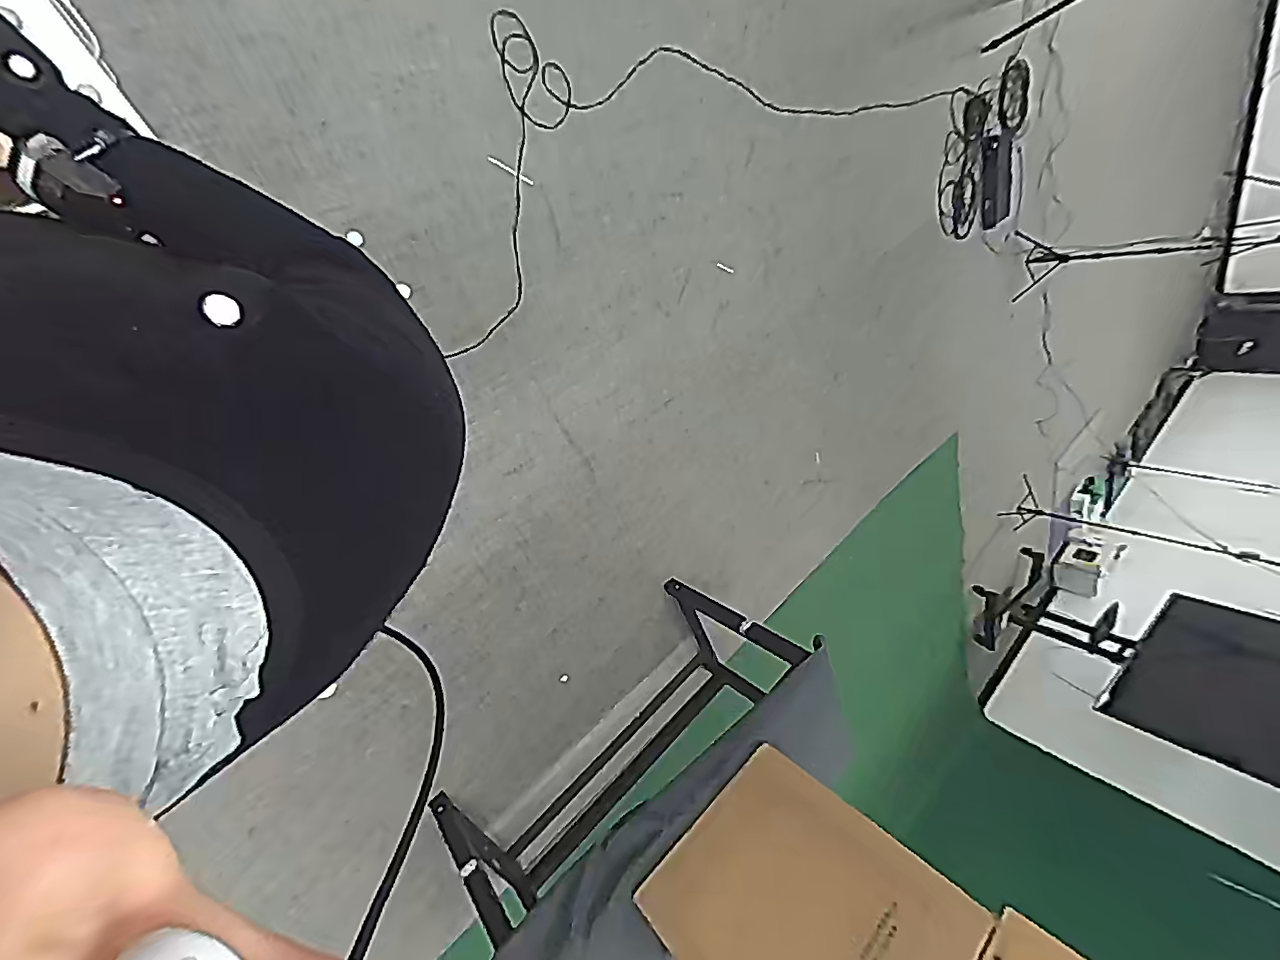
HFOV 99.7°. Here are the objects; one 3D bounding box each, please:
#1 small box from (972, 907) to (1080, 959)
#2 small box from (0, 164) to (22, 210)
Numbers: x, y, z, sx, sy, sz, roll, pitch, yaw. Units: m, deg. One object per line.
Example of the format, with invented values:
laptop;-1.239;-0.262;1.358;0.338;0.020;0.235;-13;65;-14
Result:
small box;0.776;1.014;1.078;0.168;0.176;0.179;-37;123;-29
small box;-0.747;-0.330;0.493;0.168;0.176;0.179;-40;122;-25
